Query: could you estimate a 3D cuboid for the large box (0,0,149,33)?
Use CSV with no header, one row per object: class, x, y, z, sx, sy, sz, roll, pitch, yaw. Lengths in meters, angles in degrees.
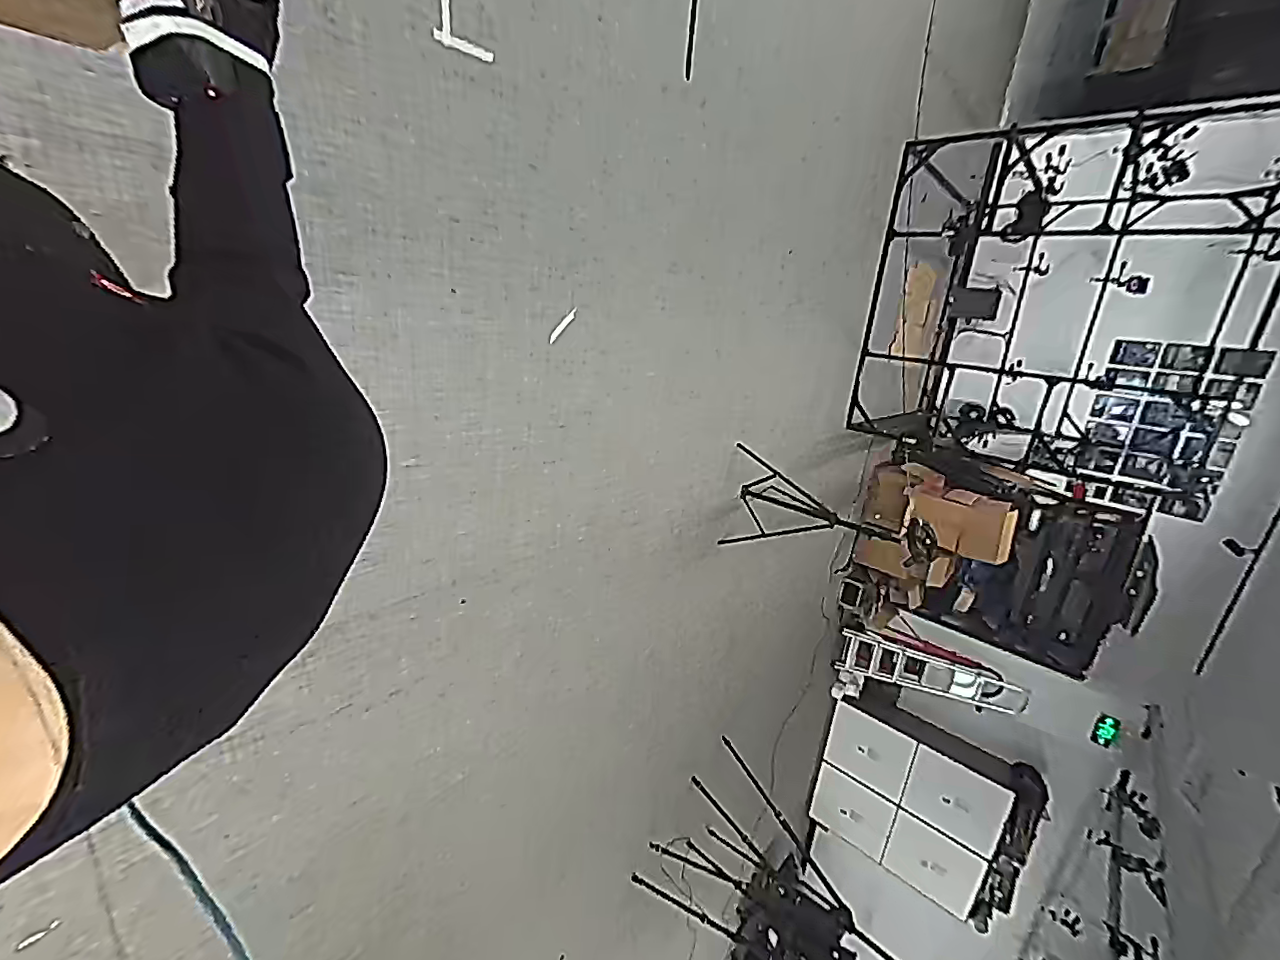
large box,-0.548,-0.486,0.259,0.408,0.320,0.320,-19,127,-48
